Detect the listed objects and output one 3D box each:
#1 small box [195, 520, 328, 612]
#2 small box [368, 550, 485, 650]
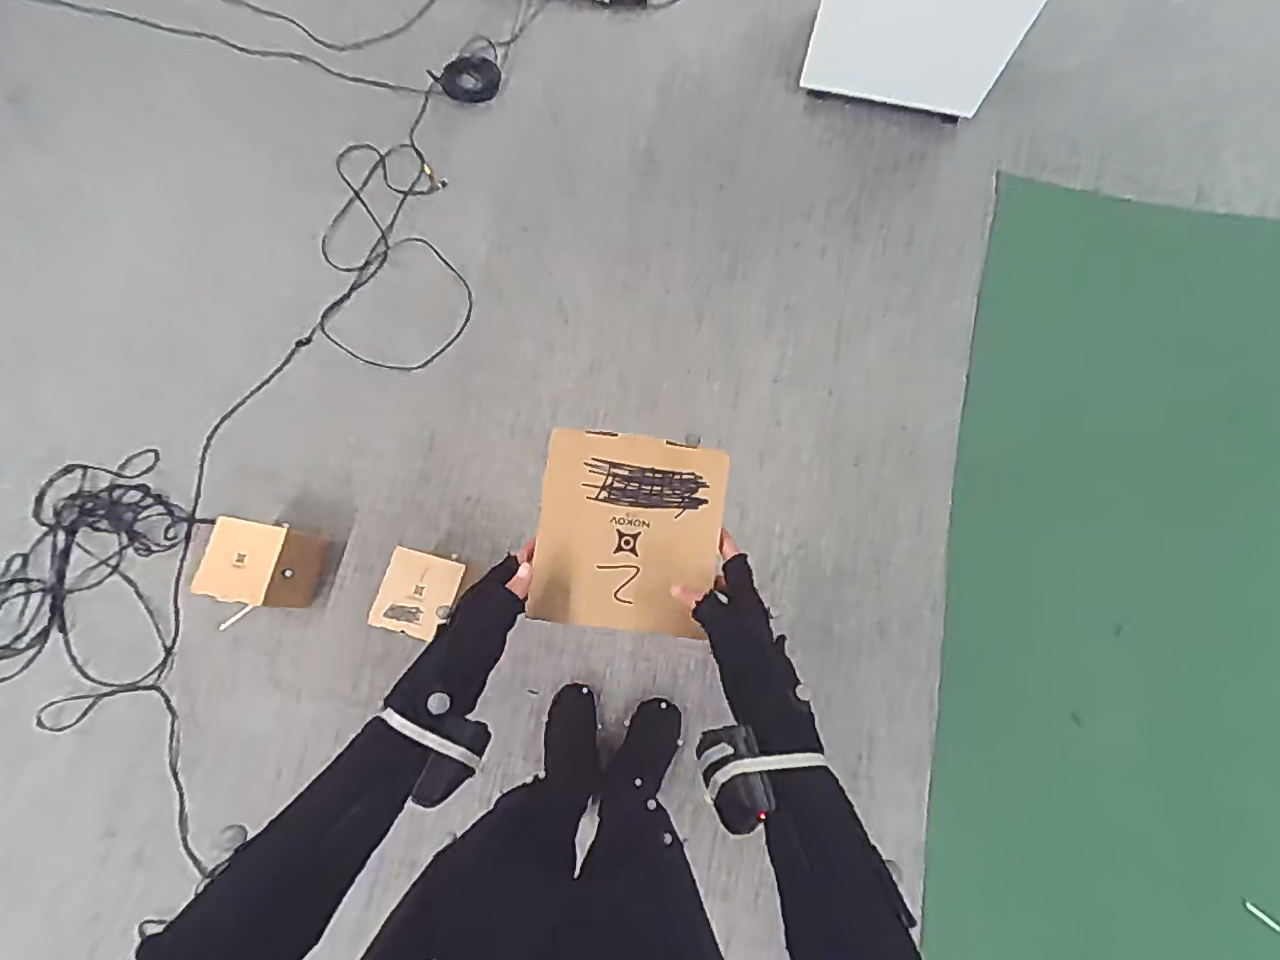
[{"bbox_3d":[-0.872,0.207,1.266,0.168,0.176,0.179,10,77,4],"label":"small box"},{"bbox_3d":[-0.476,0.275,1.237,0.168,0.176,0.179,15,76,5],"label":"small box"}]
